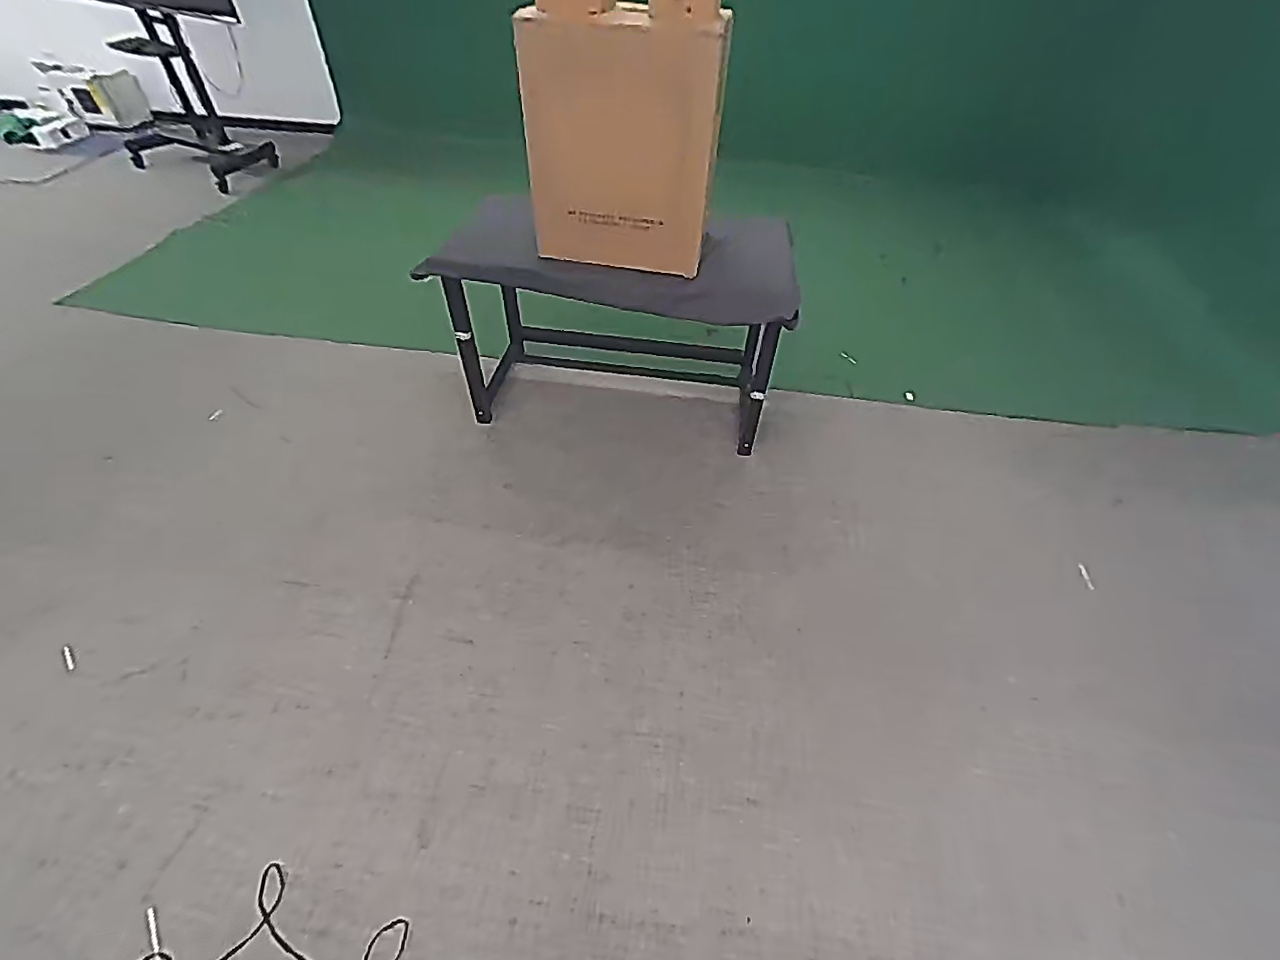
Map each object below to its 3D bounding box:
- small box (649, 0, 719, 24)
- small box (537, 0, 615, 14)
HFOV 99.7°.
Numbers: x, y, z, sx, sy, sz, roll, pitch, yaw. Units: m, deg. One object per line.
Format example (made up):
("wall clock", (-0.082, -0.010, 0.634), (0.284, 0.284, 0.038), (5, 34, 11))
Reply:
("small box", (0.120, -1.273, 1.349), (0.168, 0.176, 0.179), (11, 50, 5))
("small box", (-0.164, -1.310, 1.373), (0.179, 0.176, 0.168), (11, 51, 6))
